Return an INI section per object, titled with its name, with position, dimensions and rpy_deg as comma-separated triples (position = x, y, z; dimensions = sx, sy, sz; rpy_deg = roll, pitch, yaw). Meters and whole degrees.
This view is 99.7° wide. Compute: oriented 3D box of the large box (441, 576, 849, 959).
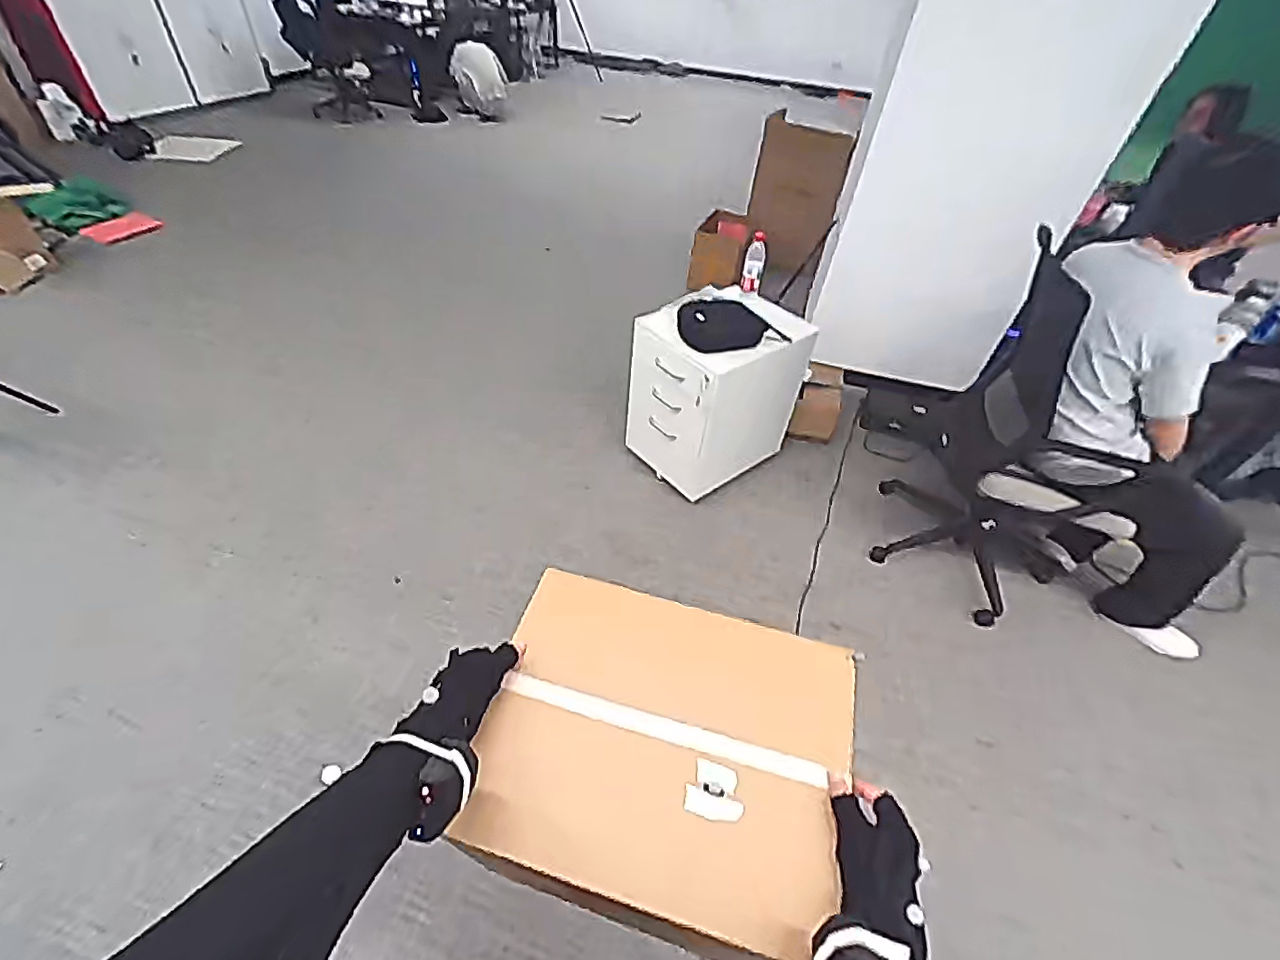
[large box]
position = 0.021, 0.381, 0.718
dimensions = 0.408, 0.320, 0.320
rpy_deg = 14, 50, 10
